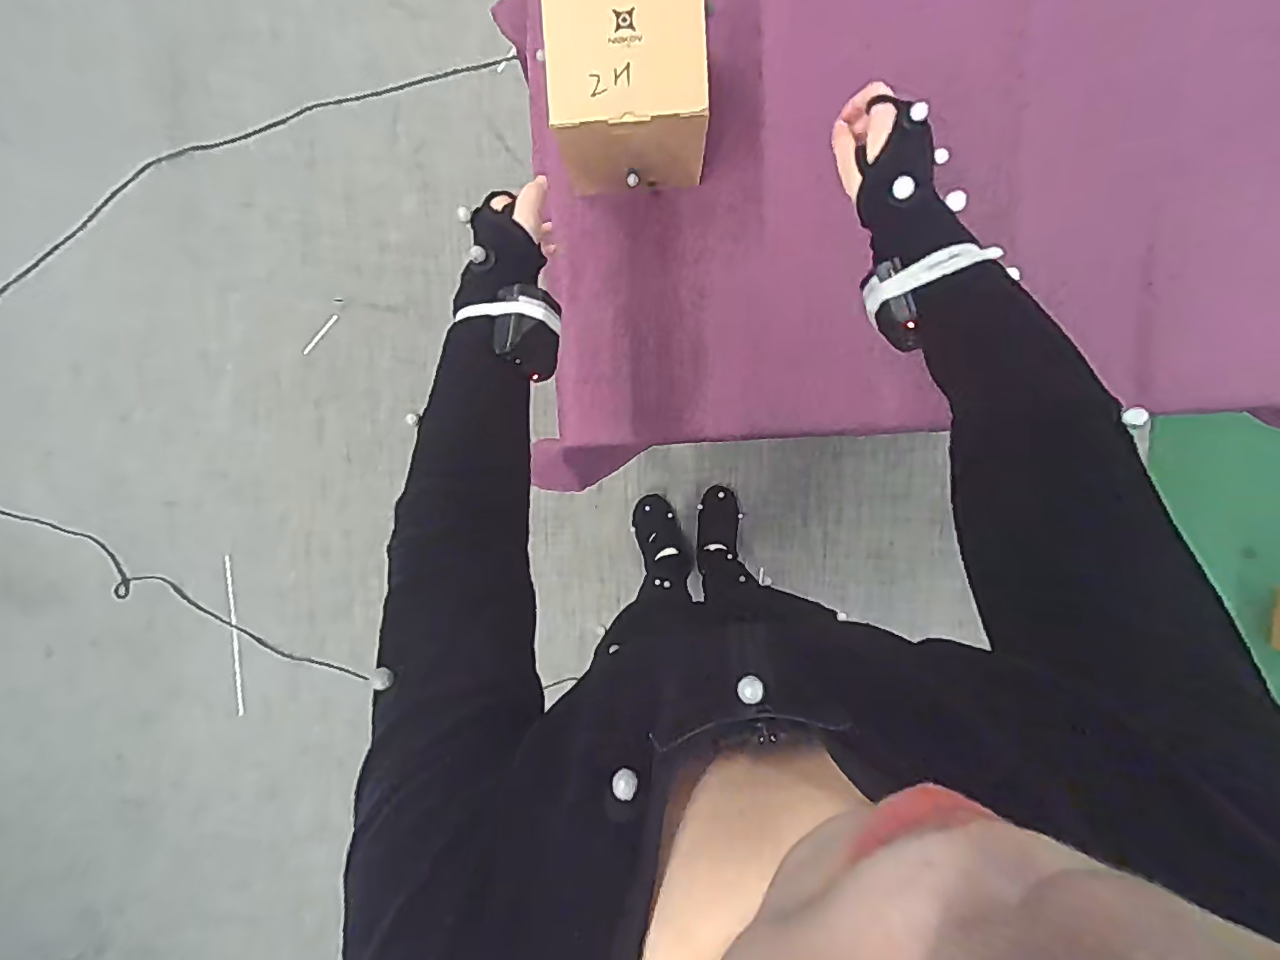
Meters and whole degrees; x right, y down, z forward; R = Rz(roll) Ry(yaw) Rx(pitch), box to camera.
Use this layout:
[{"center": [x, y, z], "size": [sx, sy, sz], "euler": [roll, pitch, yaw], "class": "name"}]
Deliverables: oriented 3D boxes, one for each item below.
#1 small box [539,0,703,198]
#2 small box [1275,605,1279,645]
[{"center": [-0.017, -0.458, 0.628], "size": [0.168, 0.176, 0.179], "euler": [-3, 95, 3], "class": "small box"}, {"center": [1.749, 0.373, 1.336], "size": [0.168, 0.176, 0.179], "euler": [2, 94, 3], "class": "small box"}]
